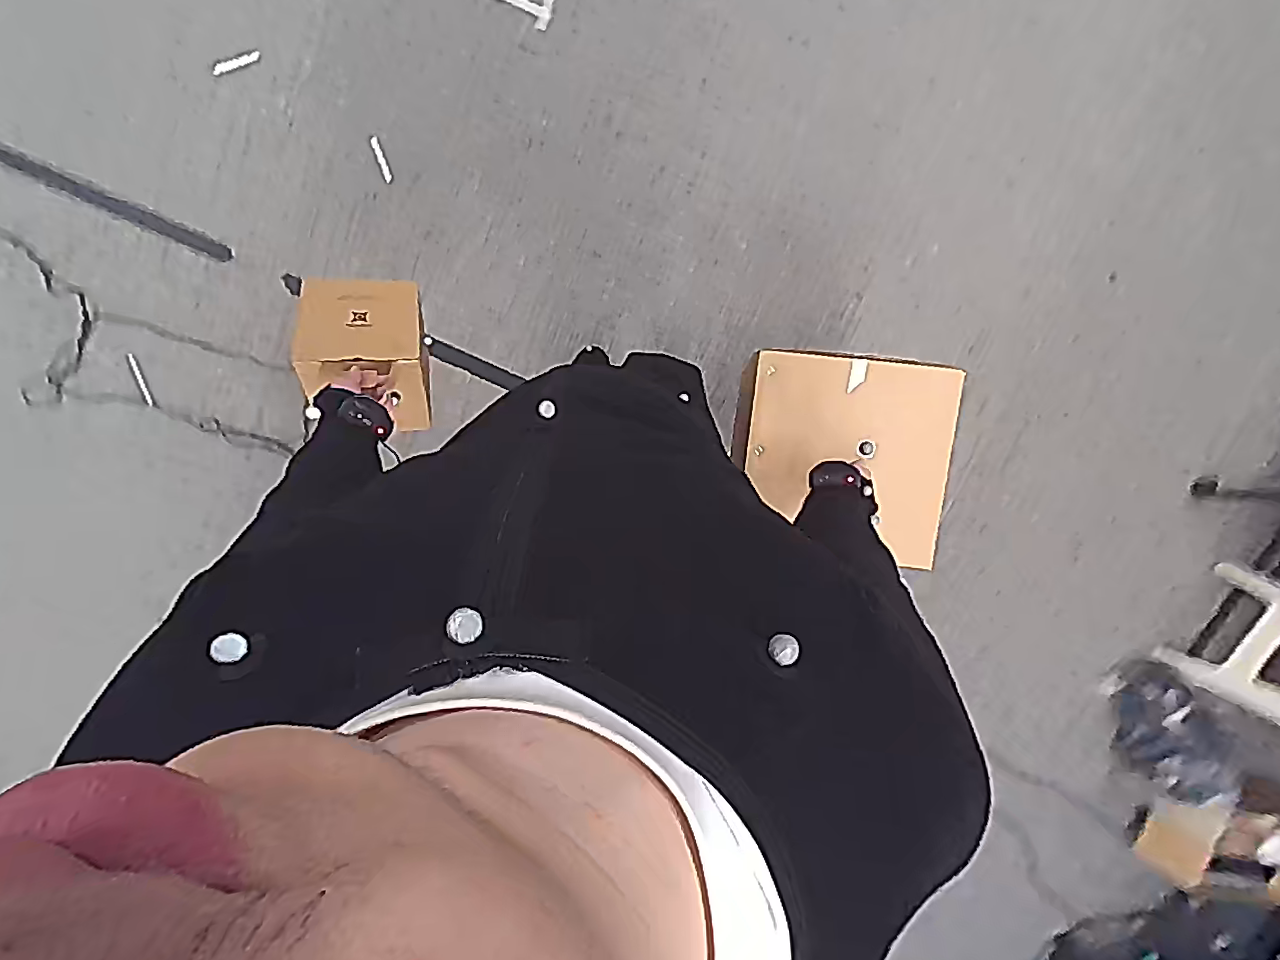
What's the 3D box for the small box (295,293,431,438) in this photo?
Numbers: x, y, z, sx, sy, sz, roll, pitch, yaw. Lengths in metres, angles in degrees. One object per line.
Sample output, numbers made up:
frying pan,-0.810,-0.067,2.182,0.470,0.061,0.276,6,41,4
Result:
small box,-0.439,-0.181,0.882,0.168,0.179,0.176,-6,147,-18
